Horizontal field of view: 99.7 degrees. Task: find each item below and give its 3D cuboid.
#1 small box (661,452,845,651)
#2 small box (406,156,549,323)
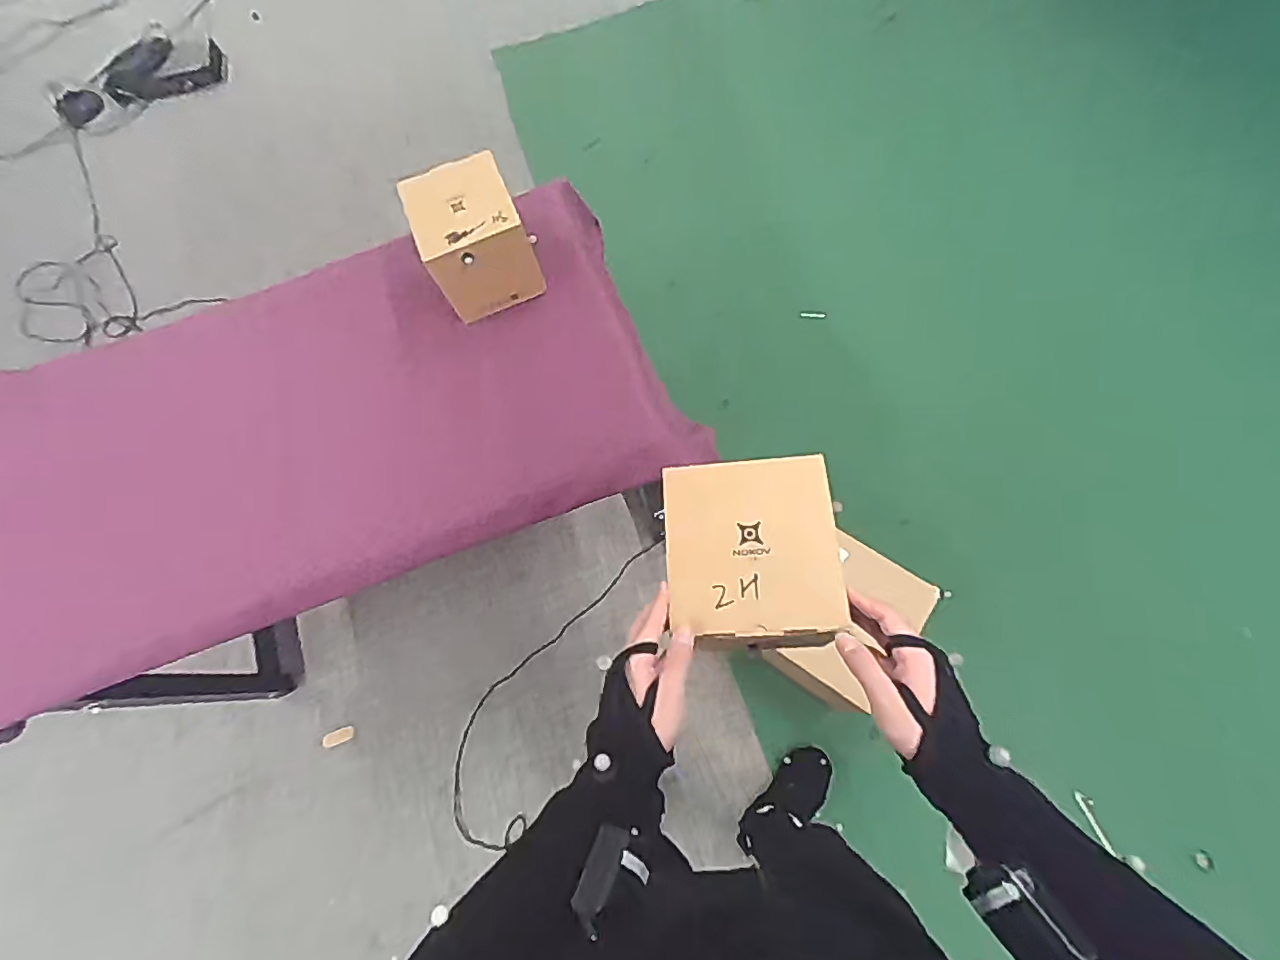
[{"bbox_3d":[0.114,0.088,0.594,0.168,0.176,0.179,-5,67,9],"label":"small box"},{"bbox_3d":[-0.277,-0.412,0.946,0.168,0.176,0.179,-23,70,-2],"label":"small box"}]
